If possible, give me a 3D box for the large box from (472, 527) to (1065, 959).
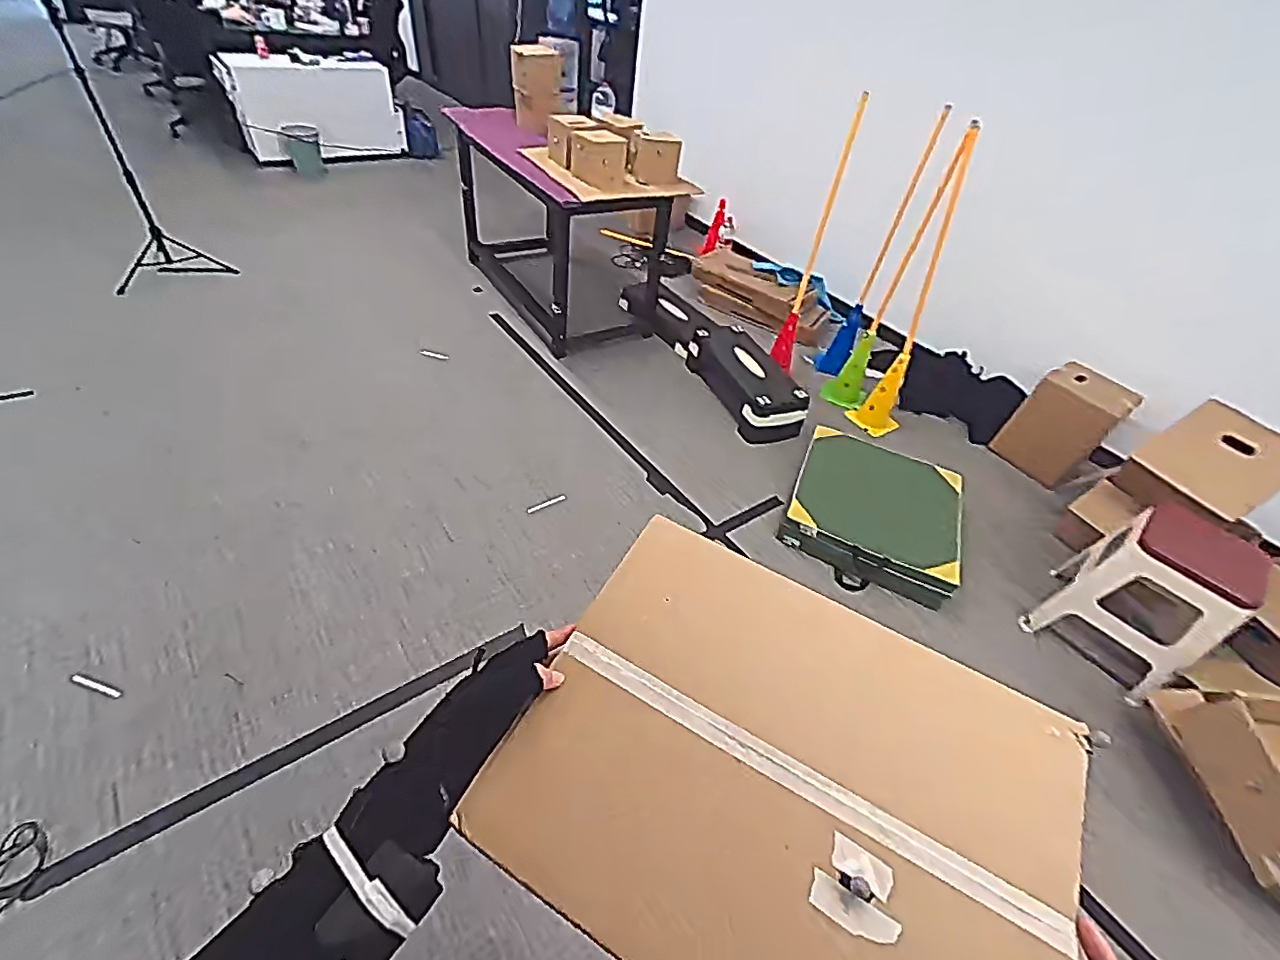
[{"bbox_3d":[0.110,0.320,0.550,0.408,0.320,0.320,26,56,16],"label":"large box"}]
